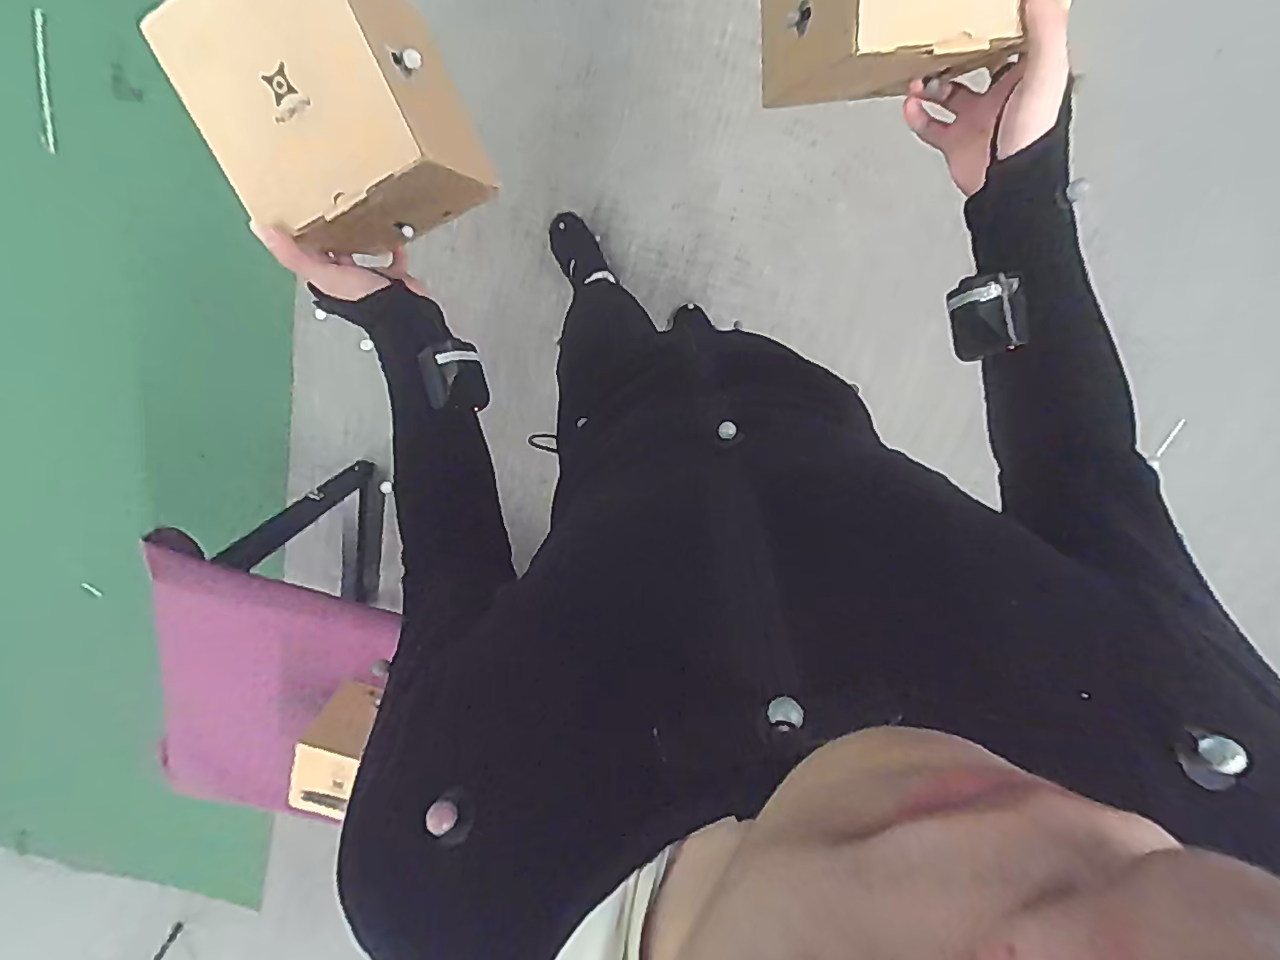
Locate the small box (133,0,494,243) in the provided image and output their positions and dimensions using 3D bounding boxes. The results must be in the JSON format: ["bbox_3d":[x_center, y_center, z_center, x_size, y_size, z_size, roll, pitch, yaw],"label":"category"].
[{"bbox_3d":[-0.259,-0.330,0.478,0.168,0.176,0.179,-19,108,13],"label":"small box"}]

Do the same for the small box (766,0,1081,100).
[{"bbox_3d":[0.204,-0.407,0.408,0.168,0.176,0.179,-9,114,-8],"label":"small box"}]
